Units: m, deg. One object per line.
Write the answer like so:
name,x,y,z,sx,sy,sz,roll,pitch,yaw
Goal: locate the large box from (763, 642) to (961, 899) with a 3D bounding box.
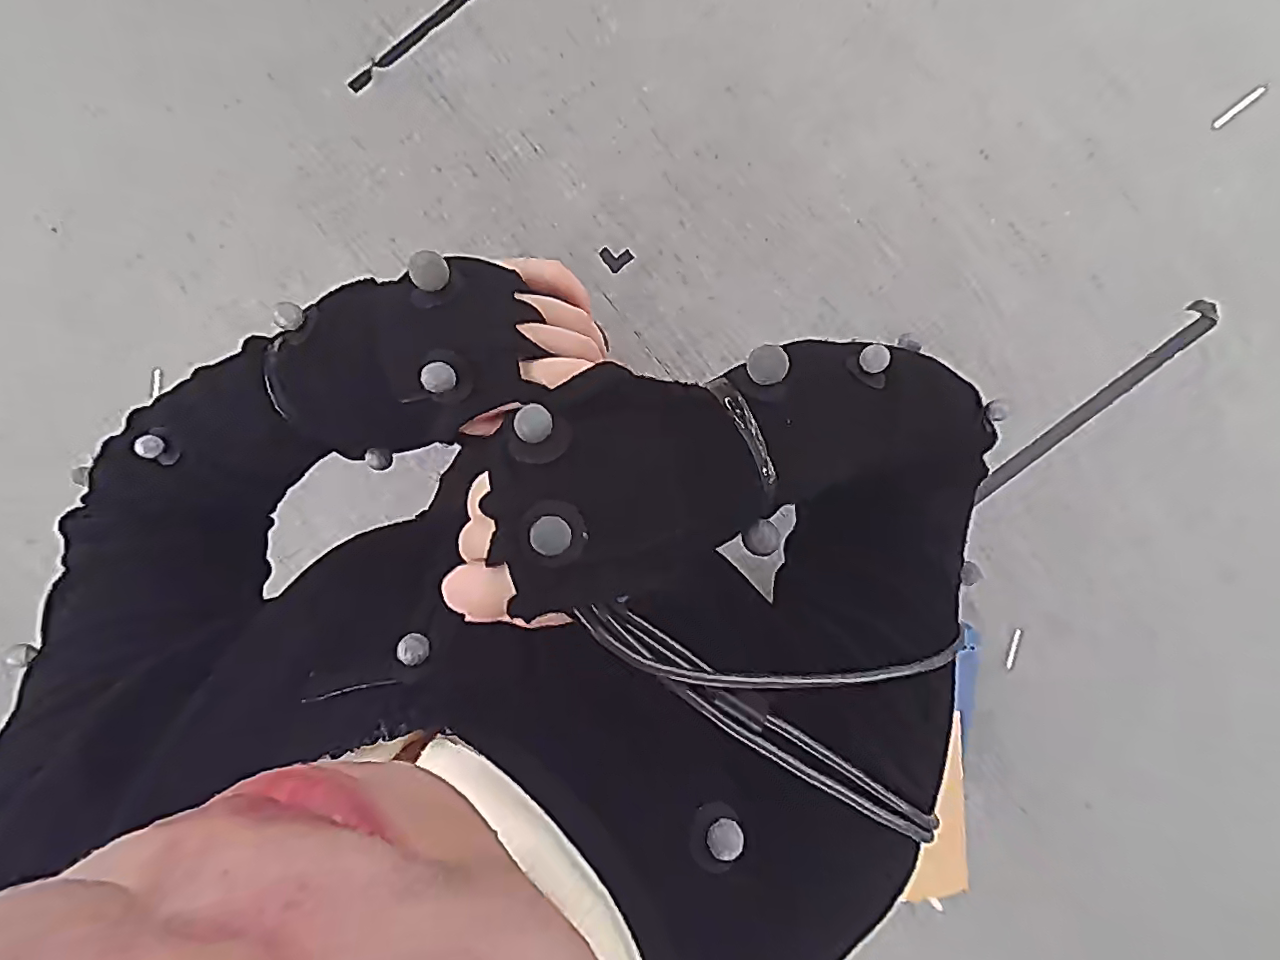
large box,0.490,0.639,1.248,0.320,0.320,0.408,-6,97,0
